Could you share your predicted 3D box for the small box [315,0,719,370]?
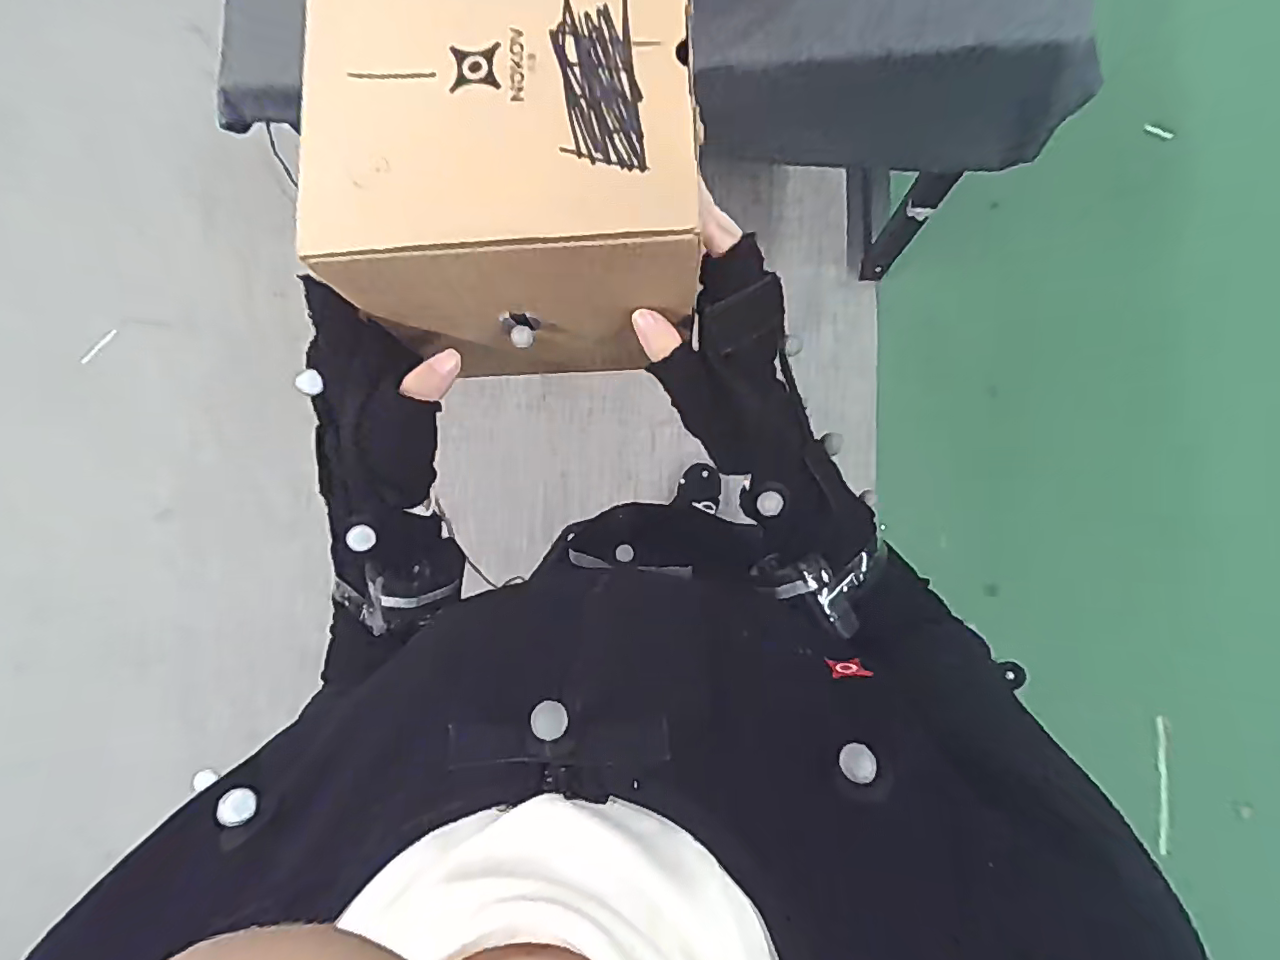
[{"bbox_3d":[-0.058,-0.172,0.321,0.179,0.176,0.168,-4,84,-1],"label":"small box"}]
